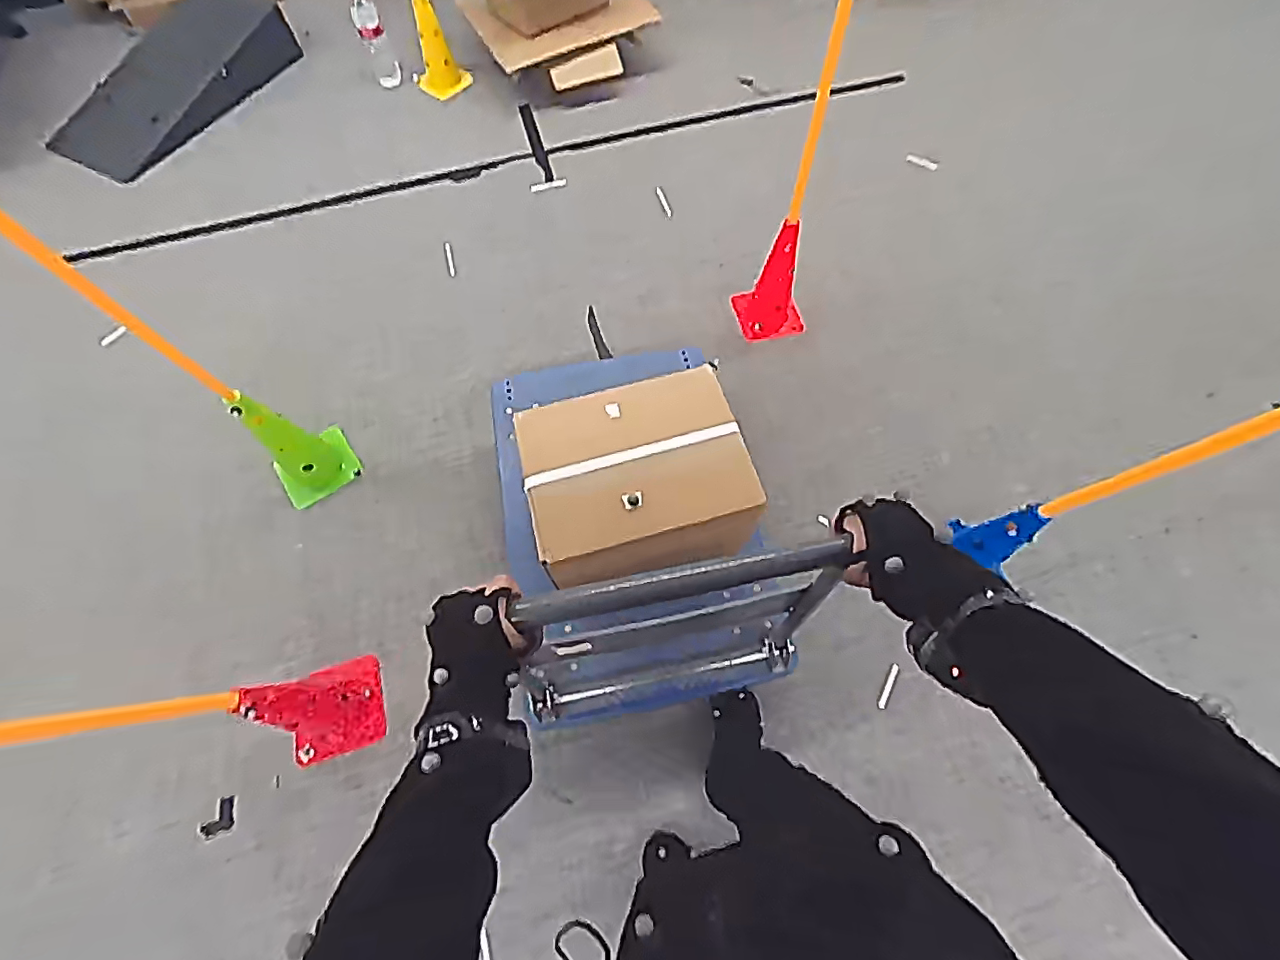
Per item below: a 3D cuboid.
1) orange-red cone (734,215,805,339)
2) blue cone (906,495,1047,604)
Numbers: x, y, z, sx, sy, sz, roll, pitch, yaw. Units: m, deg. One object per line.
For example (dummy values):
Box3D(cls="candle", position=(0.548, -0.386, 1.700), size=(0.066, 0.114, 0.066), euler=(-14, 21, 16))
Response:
Box3D(cls="orange-red cone", position=(0.414, -0.612, 1.585), size=(0.199, 0.360, 0.198), euler=(-9, 65, -5))
Box3D(cls="blue cone", position=(0.800, 0.136, 1.236), size=(0.193, 0.380, 0.192), euler=(-19, 65, -8))
